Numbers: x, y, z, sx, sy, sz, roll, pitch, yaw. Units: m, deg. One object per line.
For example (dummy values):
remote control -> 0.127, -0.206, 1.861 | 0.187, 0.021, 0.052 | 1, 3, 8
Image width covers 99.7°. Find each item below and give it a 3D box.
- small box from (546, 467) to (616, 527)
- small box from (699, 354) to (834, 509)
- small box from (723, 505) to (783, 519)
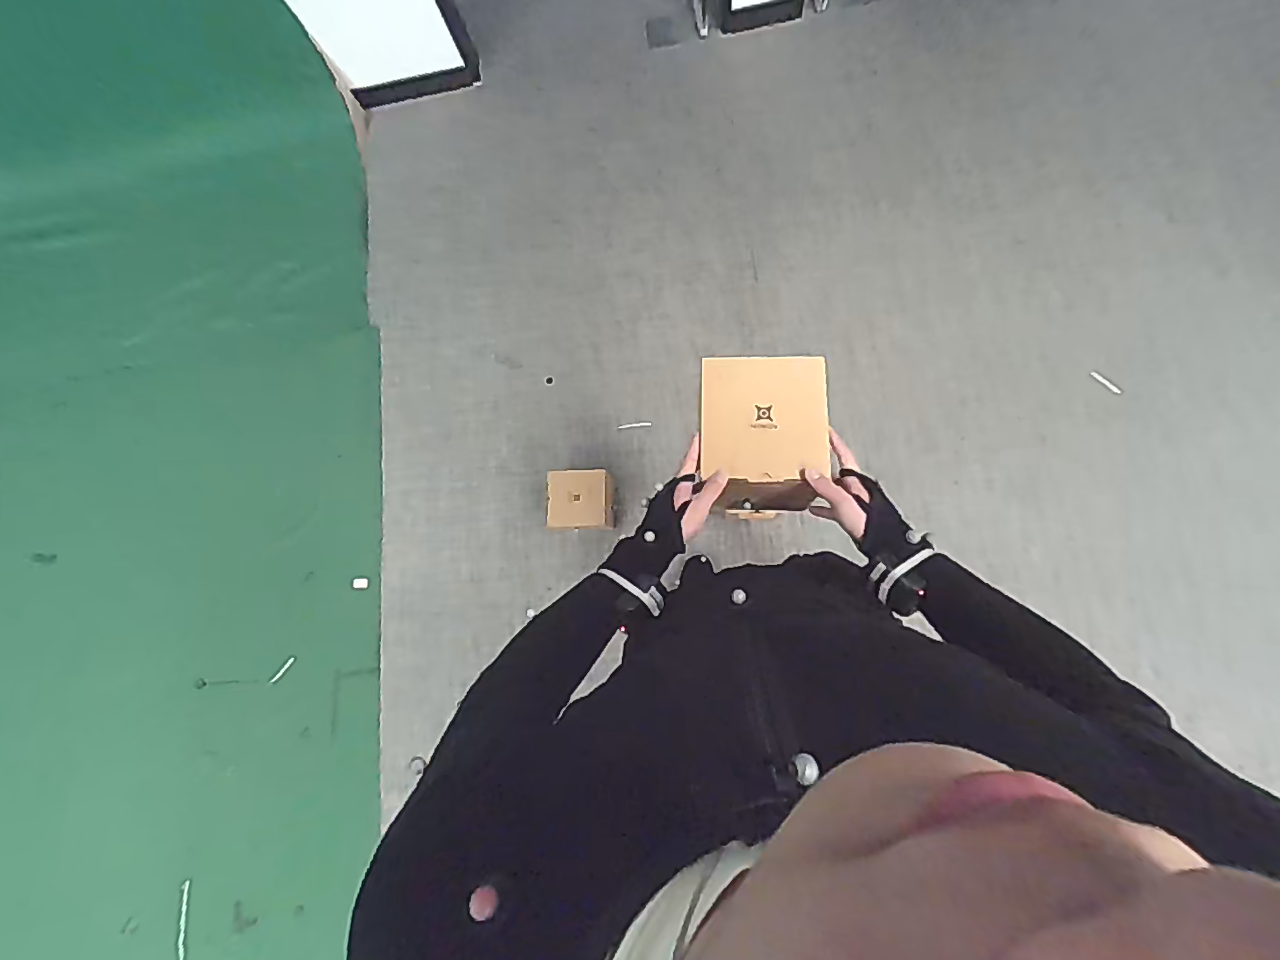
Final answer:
small box -> -0.175, 0.055, 1.643 | 0.179, 0.176, 0.168 | -1, 81, 7
small box -> 0.171, -0.064, 0.778 | 0.168, 0.176, 0.179 | 1, 76, 5
small box -> 0.332, 0.014, 1.584 | 0.168, 0.176, 0.179 | 5, 82, 10
